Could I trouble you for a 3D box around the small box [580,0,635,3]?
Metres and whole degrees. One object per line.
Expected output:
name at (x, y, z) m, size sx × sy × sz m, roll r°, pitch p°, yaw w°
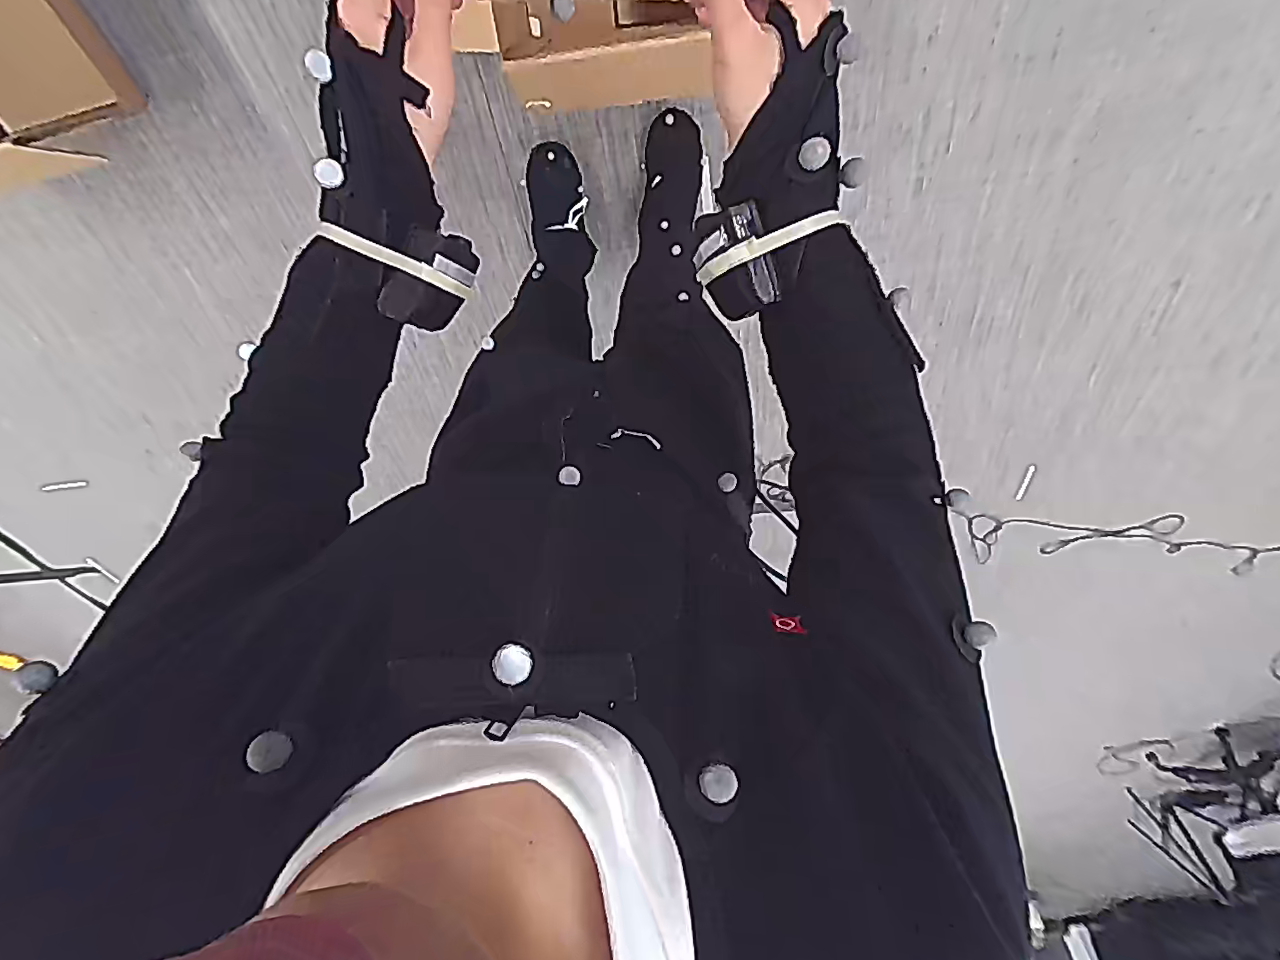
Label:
small box at (-0.039, -0.393, 0.312) m, size 0.179 × 0.176 × 0.168 m, roll 0°, pitch 128°, yaw 0°
